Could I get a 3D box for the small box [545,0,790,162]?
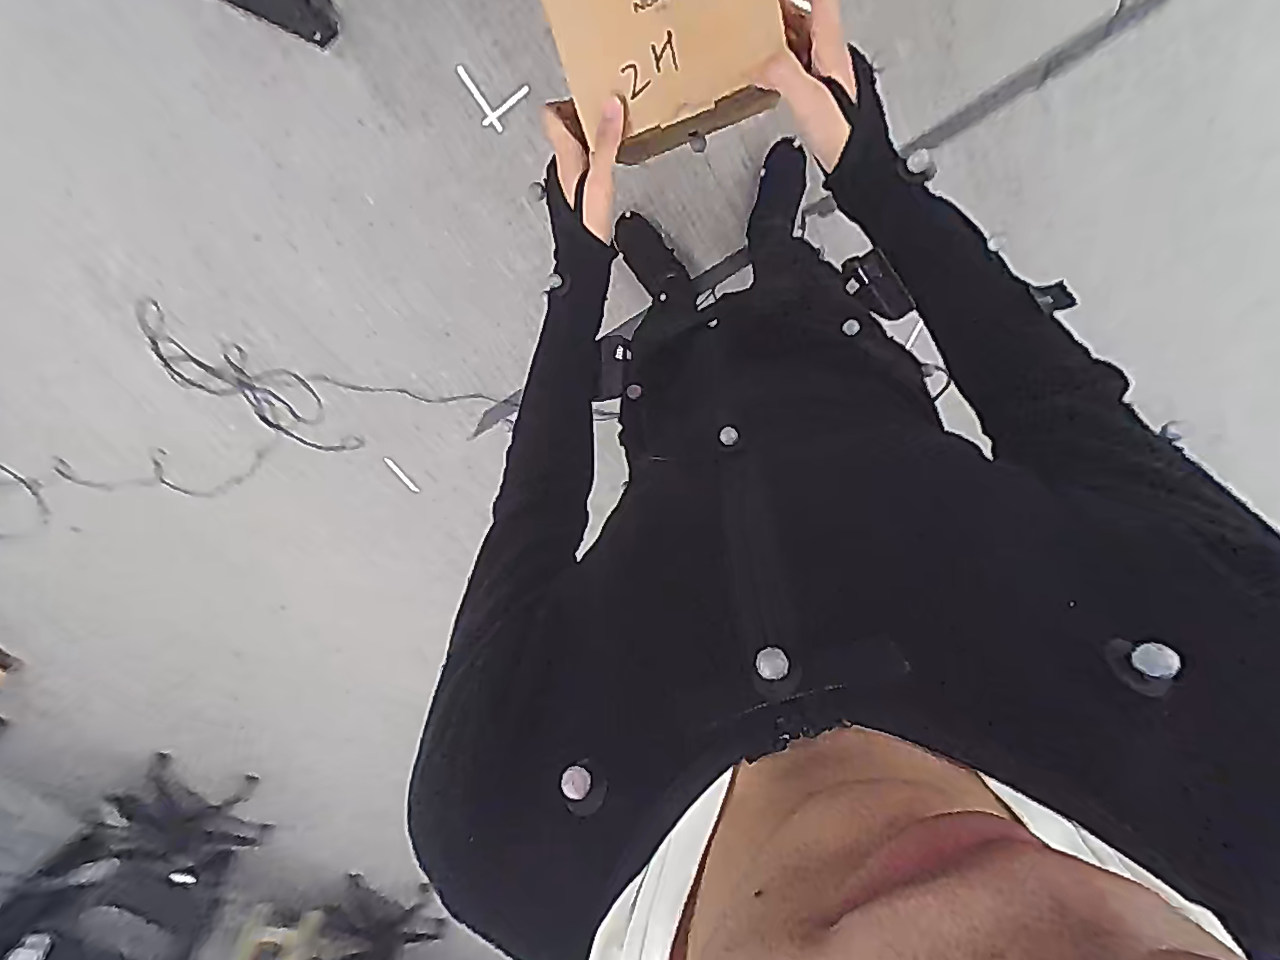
[{"bbox_3d":[0.023,-0.396,0.459,0.168,0.176,0.179,-12,114,17],"label":"small box"}]
